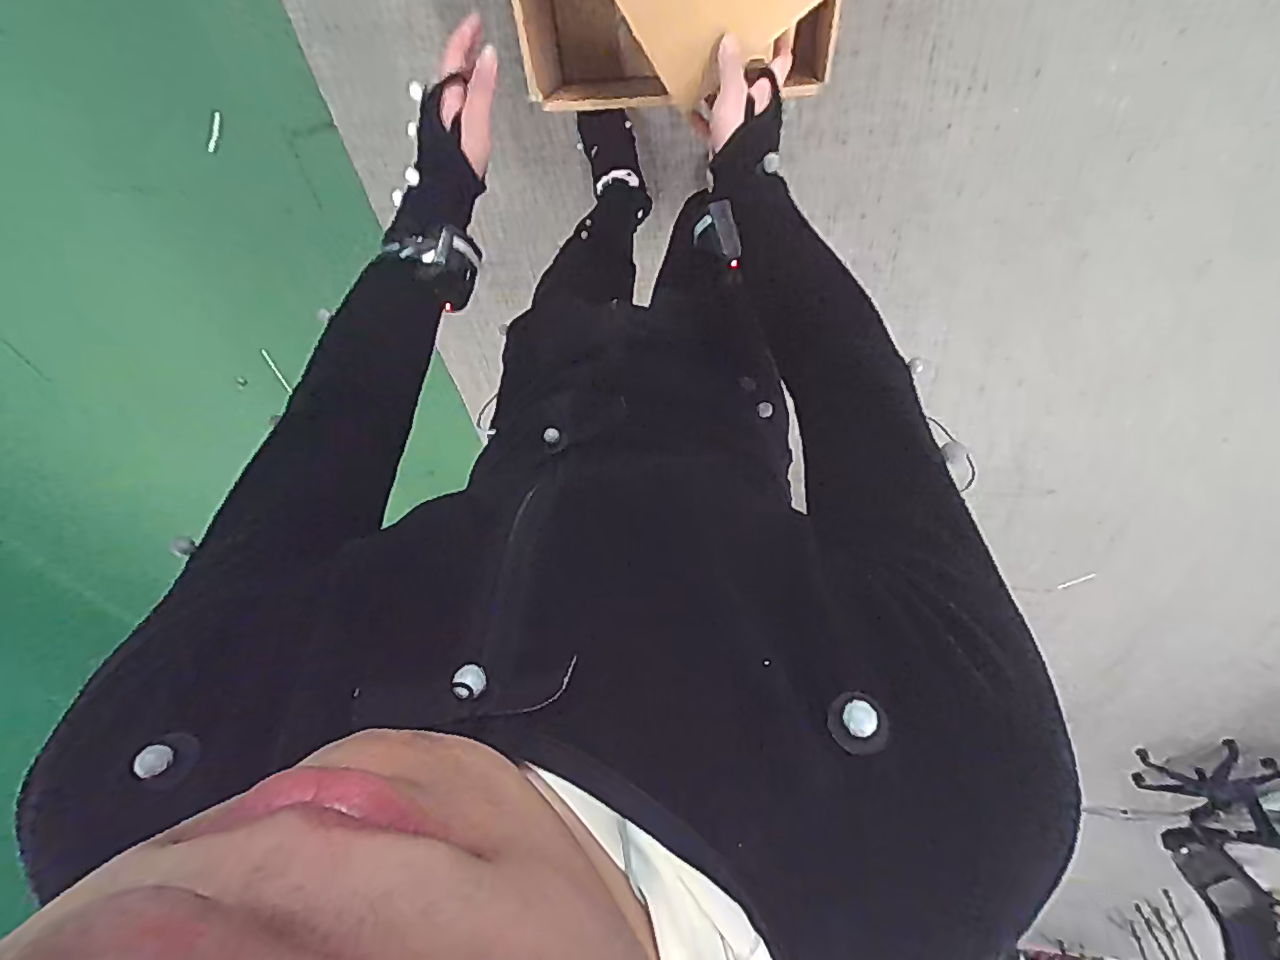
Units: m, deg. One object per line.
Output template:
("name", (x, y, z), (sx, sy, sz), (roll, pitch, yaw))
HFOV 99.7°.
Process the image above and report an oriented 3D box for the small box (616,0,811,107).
("small box", (0.065, -0.517, 0.524), (0.168, 0.176, 0.179), (-24, 125, 31))
